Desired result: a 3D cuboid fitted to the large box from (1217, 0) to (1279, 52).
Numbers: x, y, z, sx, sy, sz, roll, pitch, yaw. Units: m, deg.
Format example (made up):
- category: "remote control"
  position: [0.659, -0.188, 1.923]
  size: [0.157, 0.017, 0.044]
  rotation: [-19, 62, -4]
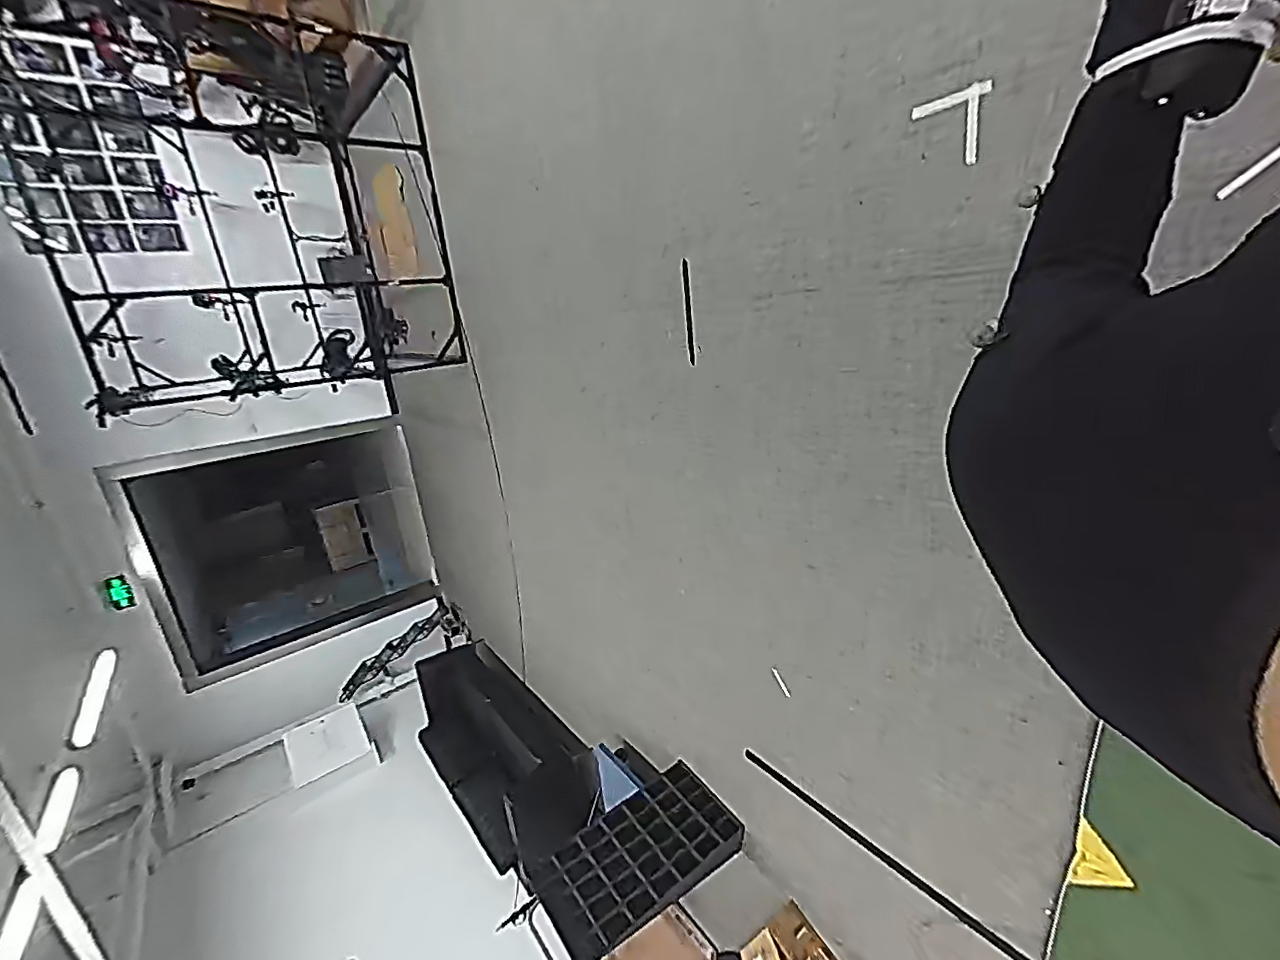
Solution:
- category: "large box"
  position: [0.617, -0.492, 0.269]
  size: [0.408, 0.320, 0.320]
  rotation: [13, 123, 51]
